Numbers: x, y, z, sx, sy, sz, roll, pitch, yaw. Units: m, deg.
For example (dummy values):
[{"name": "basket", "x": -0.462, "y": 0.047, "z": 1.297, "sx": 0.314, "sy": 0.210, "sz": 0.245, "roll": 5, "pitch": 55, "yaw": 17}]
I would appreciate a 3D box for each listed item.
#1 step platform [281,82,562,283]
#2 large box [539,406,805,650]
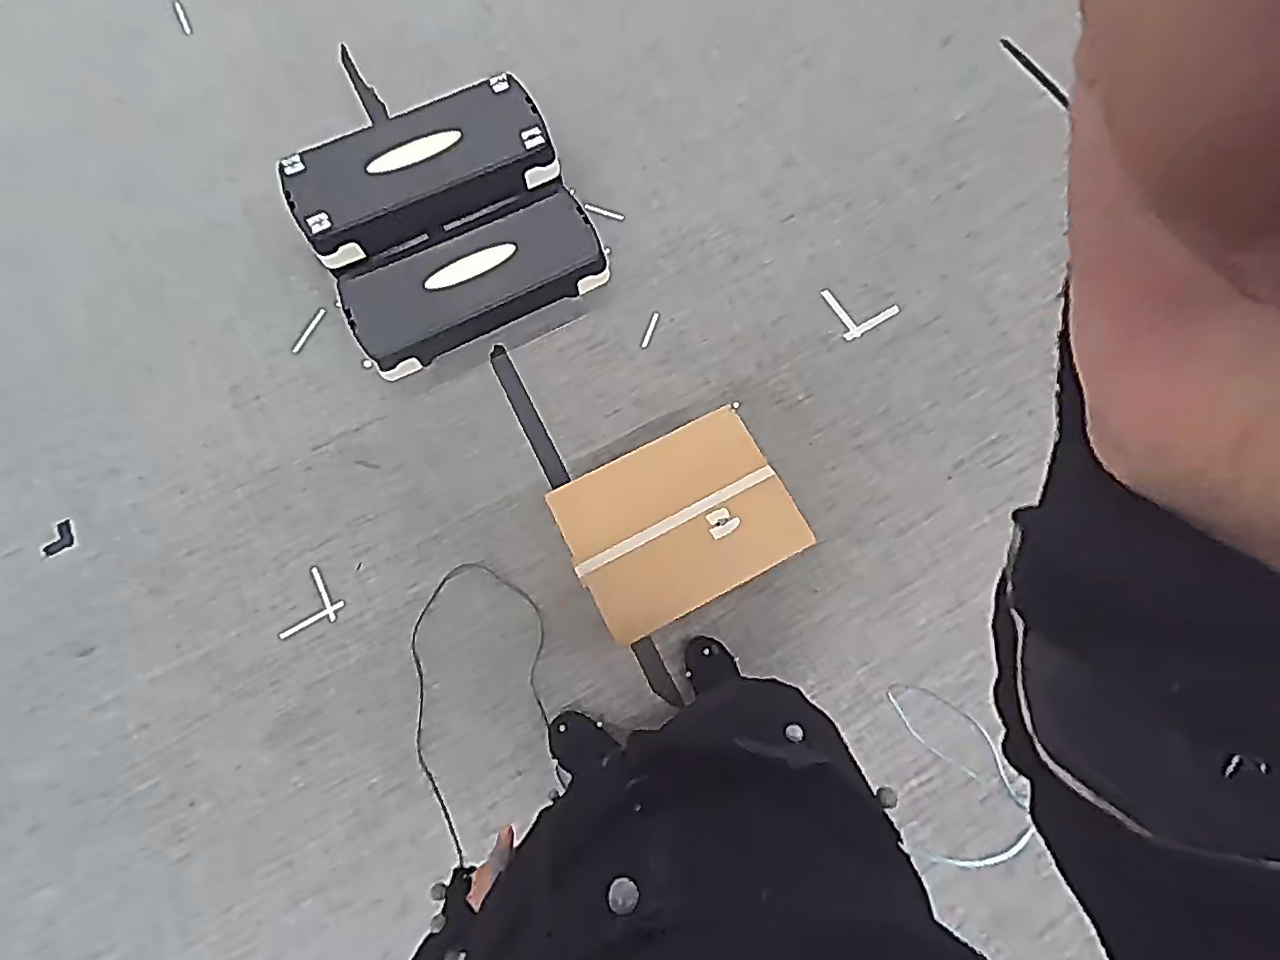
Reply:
[{"name": "step platform", "x": -0.569, "y": -0.793, "z": 1.442, "sx": 0.684, "sy": 0.204, "sz": 0.286, "roll": -22, "pitch": 76, "yaw": -6}, {"name": "large box", "x": 0.056, "y": 0.118, "z": 1.129, "sx": 0.408, "sy": 0.320, "sz": 0.320, "roll": -28, "pitch": 76, "yaw": -7}]
